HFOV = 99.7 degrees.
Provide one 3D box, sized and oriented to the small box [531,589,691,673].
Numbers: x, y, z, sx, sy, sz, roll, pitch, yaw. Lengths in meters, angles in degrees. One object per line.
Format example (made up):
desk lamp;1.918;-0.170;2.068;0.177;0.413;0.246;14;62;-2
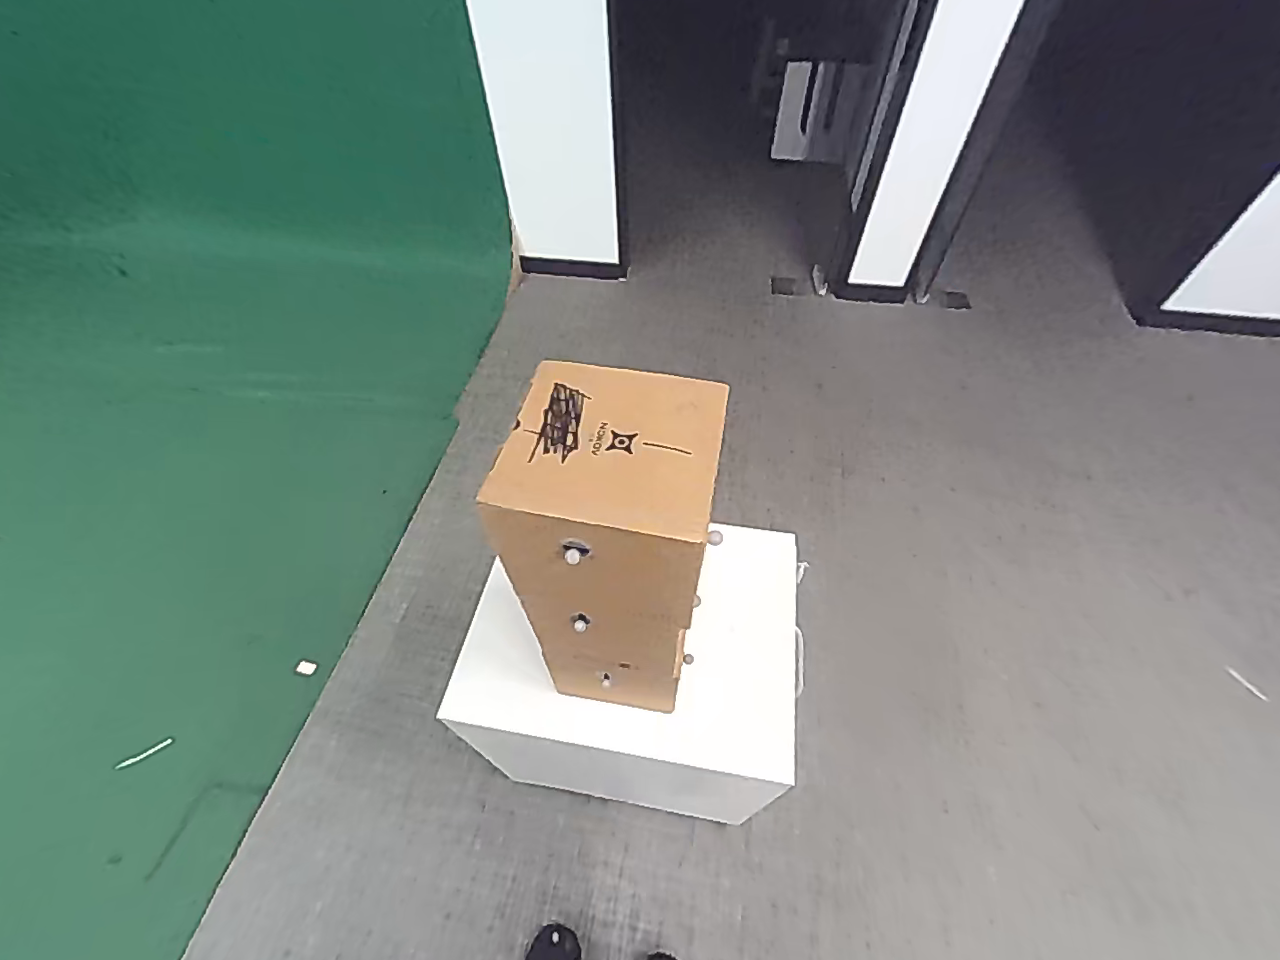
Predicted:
small box;-0.019;0.110;0.652;0.168;0.176;0.179;7;54;5

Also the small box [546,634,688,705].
small box;-0.019;0.210;0.778;0.179;0.176;0.168;8;54;6

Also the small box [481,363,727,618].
small box;-0.021;0.015;0.515;0.179;0.176;0.168;9;54;8
